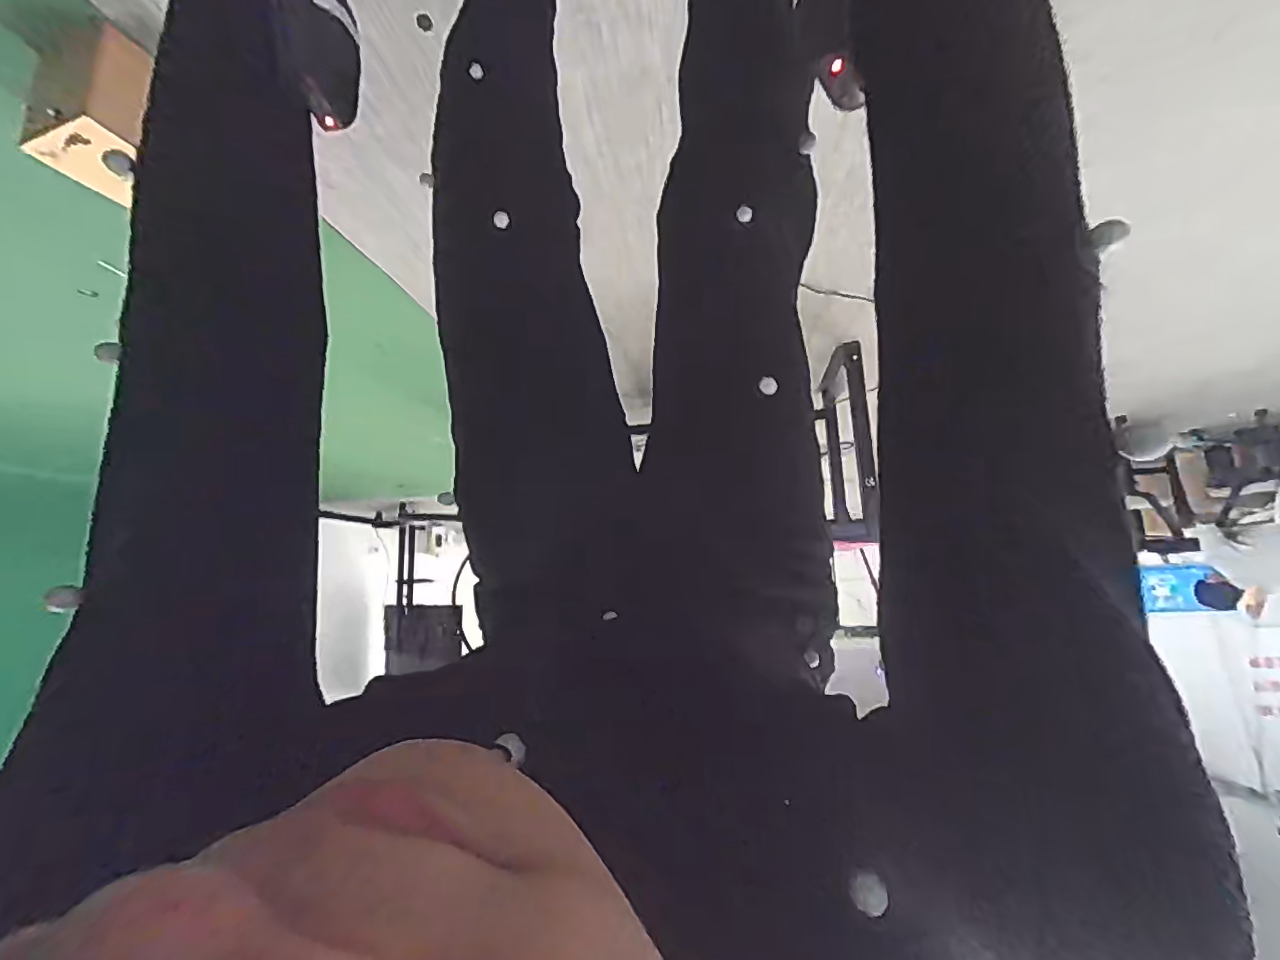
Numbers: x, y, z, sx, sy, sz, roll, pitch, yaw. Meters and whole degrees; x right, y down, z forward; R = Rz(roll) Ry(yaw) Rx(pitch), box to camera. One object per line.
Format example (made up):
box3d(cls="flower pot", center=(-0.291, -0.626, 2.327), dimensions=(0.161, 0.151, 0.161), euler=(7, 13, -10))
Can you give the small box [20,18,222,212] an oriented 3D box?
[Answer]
box3d(cls="small box", center=(-0.817, -0.573, 0.869), dimensions=(0.168, 0.176, 0.179), euler=(-5, 169, 18))
